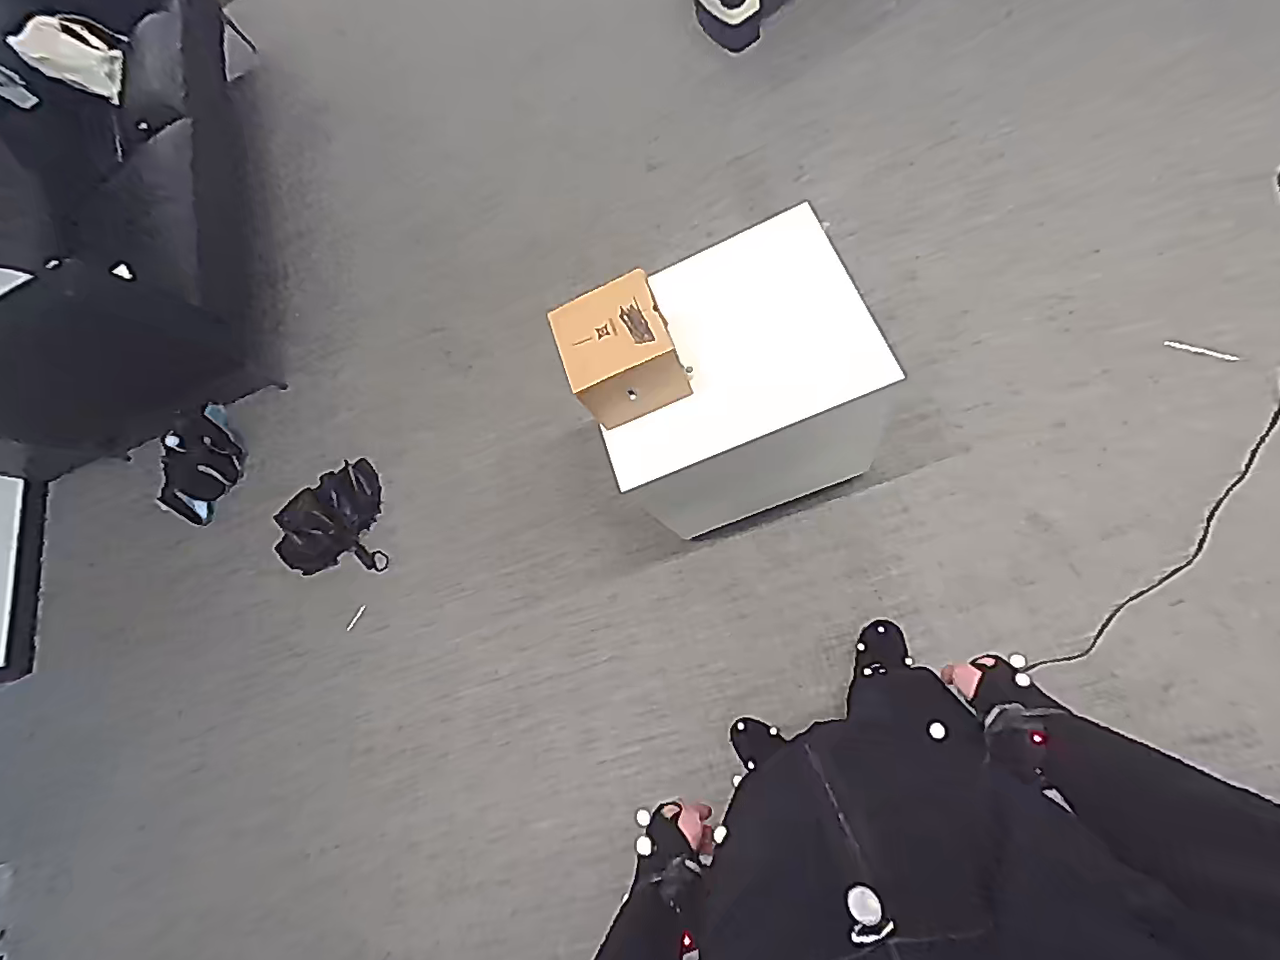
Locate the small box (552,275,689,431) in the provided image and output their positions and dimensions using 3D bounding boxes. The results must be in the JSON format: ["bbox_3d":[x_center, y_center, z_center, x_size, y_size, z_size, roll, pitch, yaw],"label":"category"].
[{"bbox_3d":[-0.025,-0.209,0.936,0.179,0.176,0.168,-23,69,10],"label":"small box"}]
